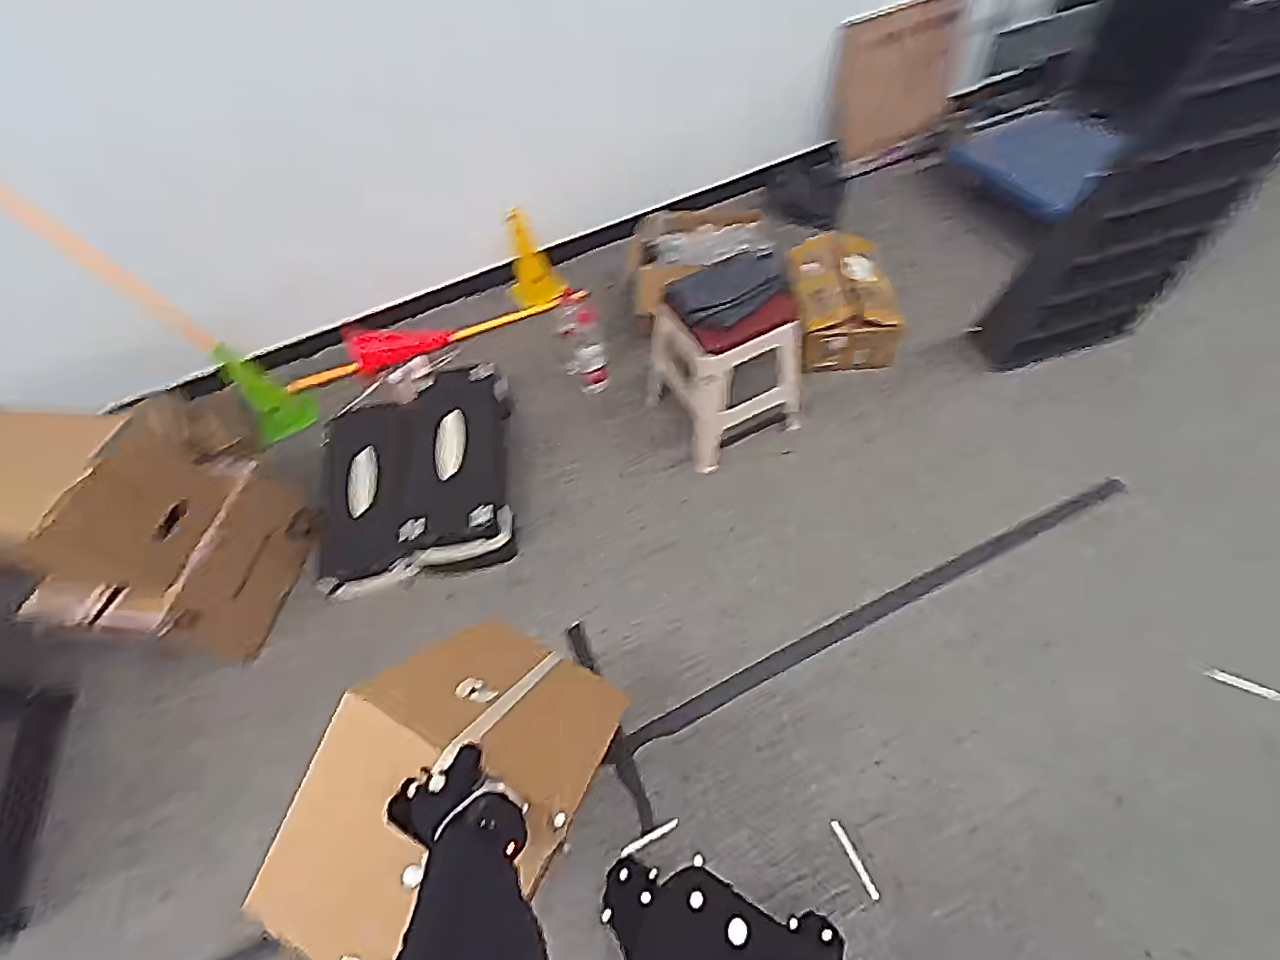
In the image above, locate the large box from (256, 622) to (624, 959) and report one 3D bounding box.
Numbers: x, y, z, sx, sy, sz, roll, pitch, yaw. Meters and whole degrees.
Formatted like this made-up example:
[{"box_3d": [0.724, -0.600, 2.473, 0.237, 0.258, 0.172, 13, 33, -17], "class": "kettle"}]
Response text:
[{"box_3d": [-0.260, 0.475, 0.842, 0.320, 0.408, 0.320, 27, 94, 9], "class": "large box"}]
